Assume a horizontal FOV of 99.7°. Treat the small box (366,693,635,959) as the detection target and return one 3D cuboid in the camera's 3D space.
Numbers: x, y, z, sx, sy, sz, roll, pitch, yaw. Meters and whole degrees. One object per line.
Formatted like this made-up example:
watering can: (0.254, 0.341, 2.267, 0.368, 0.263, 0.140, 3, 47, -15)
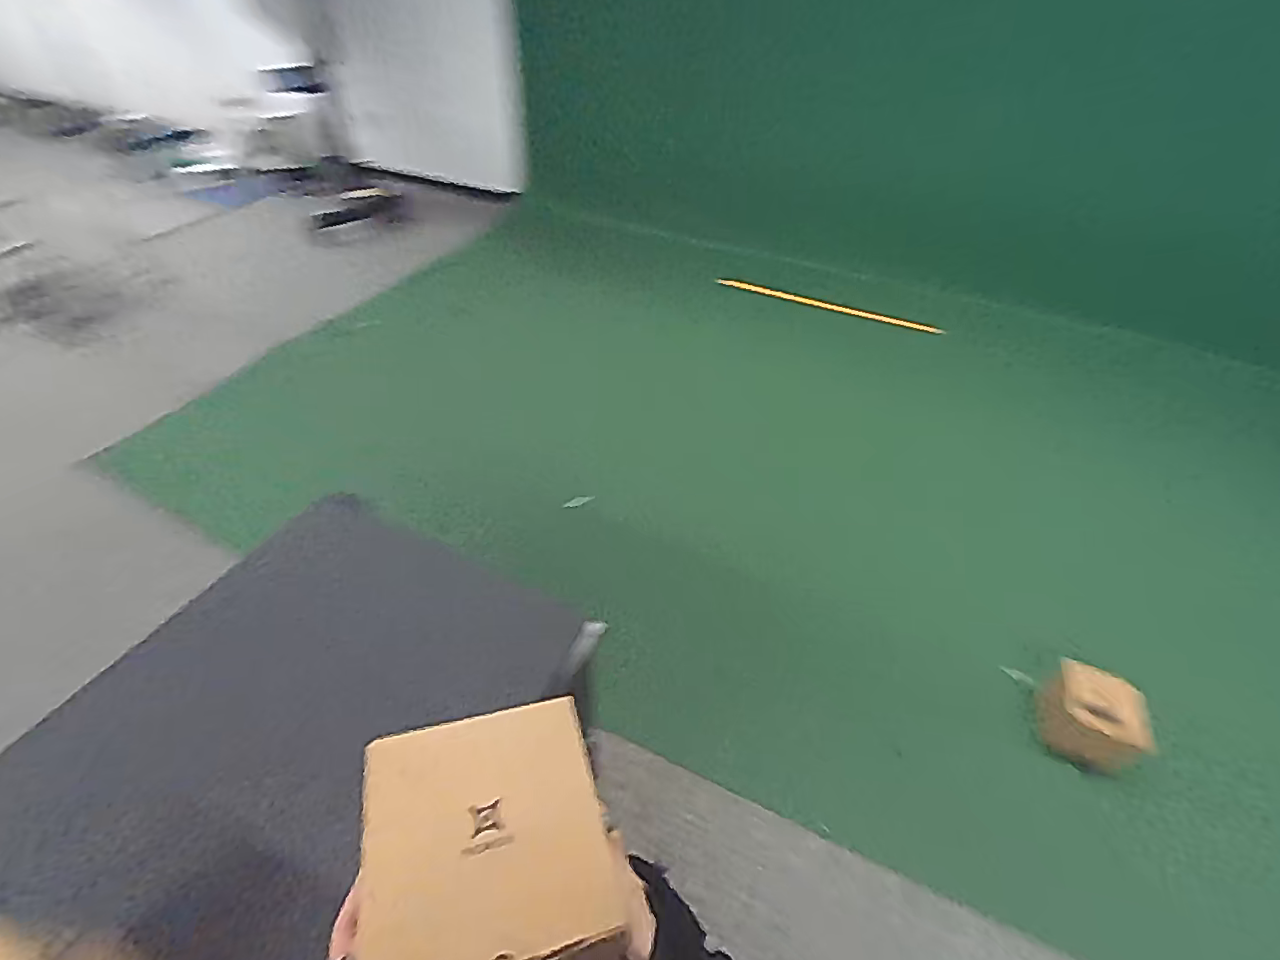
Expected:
small box: (-0.115, 0.311, 0.438, 0.168, 0.176, 0.179, -6, 36, -19)
